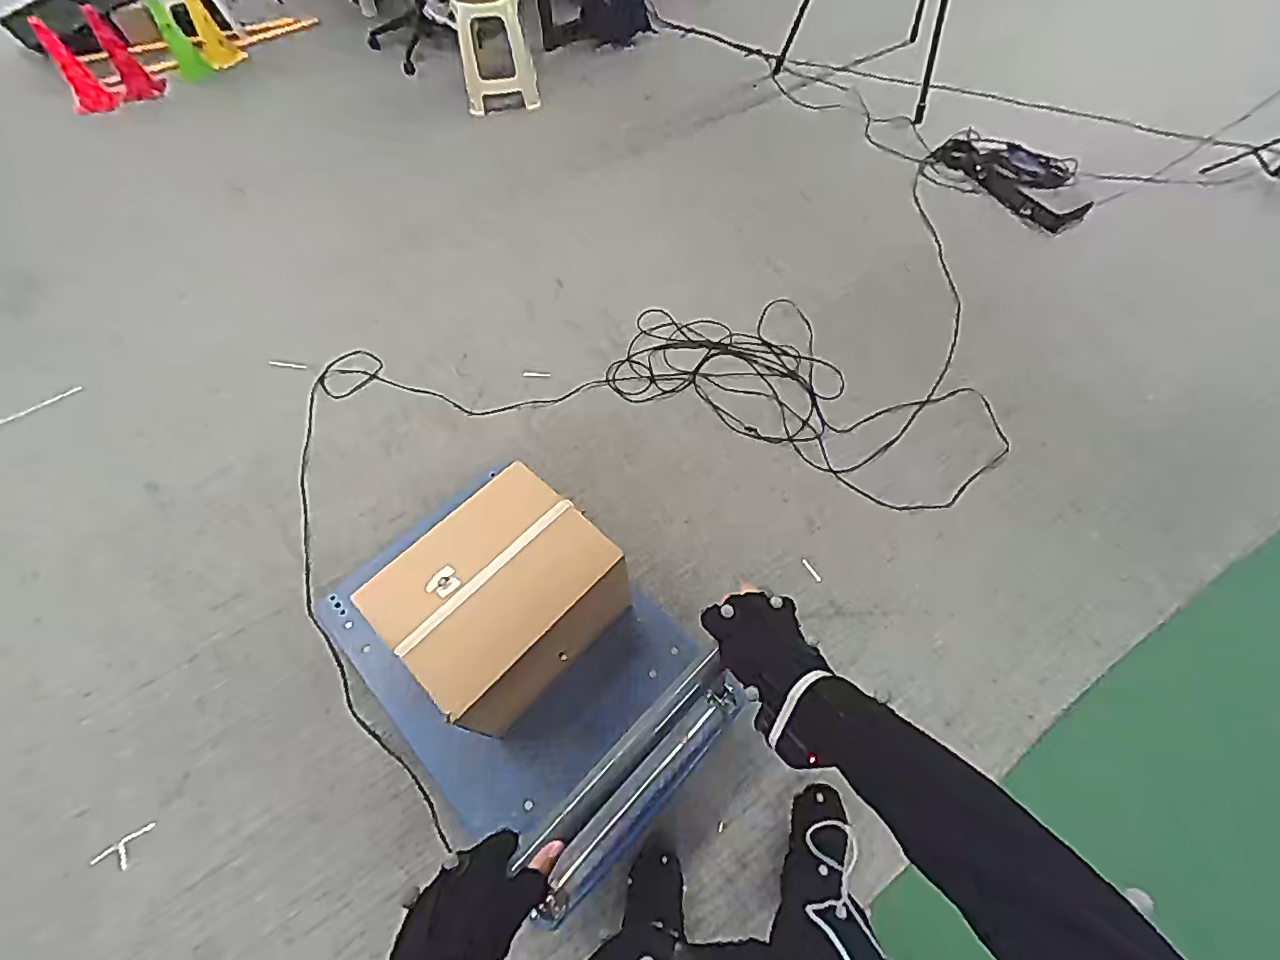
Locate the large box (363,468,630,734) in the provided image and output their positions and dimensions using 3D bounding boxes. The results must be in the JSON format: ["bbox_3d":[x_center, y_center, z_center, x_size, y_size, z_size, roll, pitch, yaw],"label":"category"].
[{"bbox_3d":[-0.267,0.260,1.144,0.320,0.320,0.408,38,69,22],"label":"large box"}]
